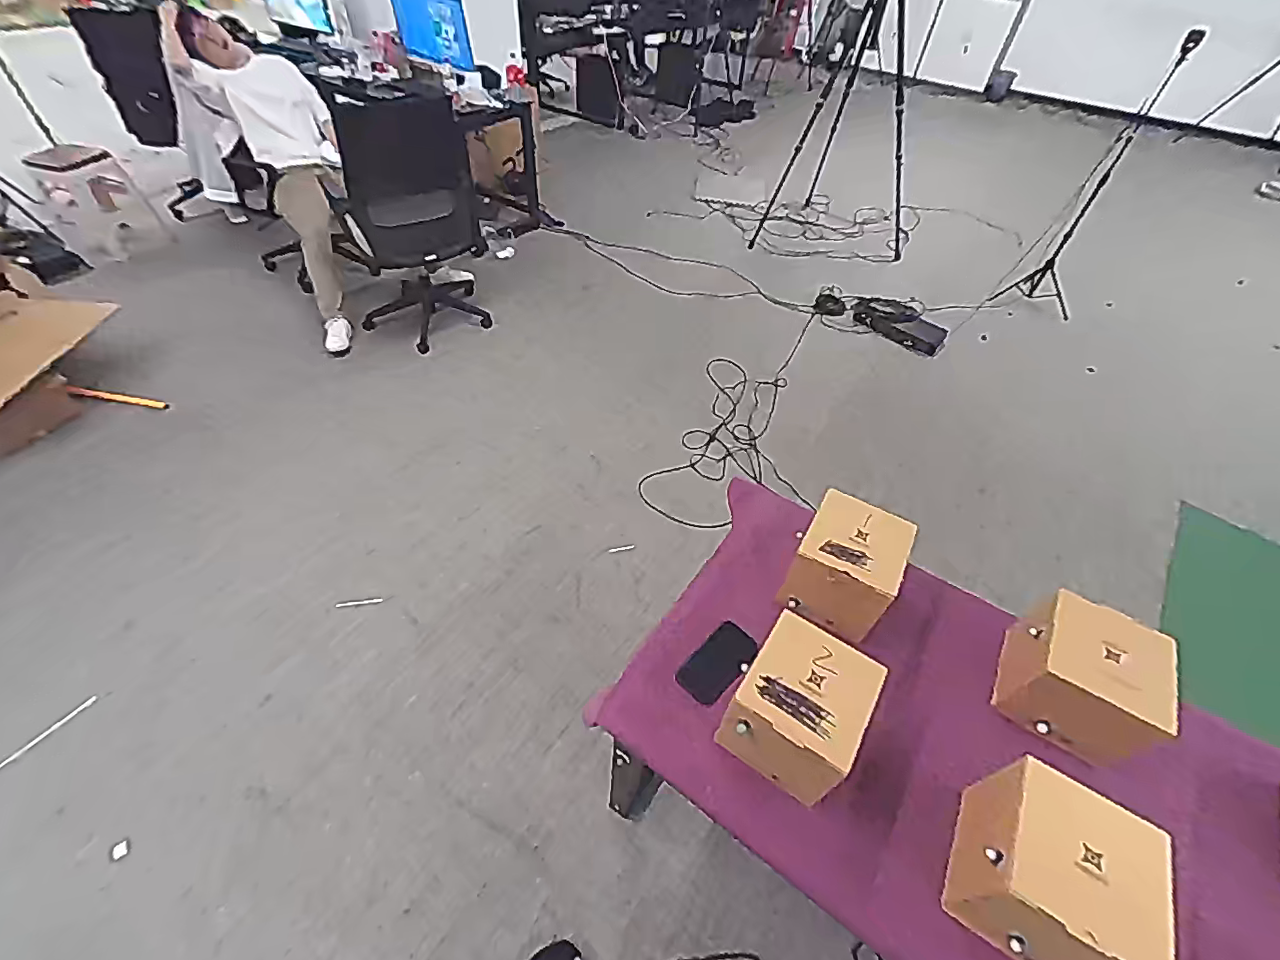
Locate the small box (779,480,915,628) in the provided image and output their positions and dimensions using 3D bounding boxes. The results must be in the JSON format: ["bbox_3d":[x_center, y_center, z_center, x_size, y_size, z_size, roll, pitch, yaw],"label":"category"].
[{"bbox_3d":[0.371,0.138,0.992,0.168,0.176,0.179,26,51,17],"label":"small box"}]

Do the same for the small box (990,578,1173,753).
[{"bbox_3d":[0.705,0.301,0.876,0.168,0.176,0.179,28,53,21],"label":"small box"}]

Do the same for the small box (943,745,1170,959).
[{"bbox_3d":[0.522,0.488,0.696,0.168,0.176,0.179,28,52,19],"label":"small box"}]
